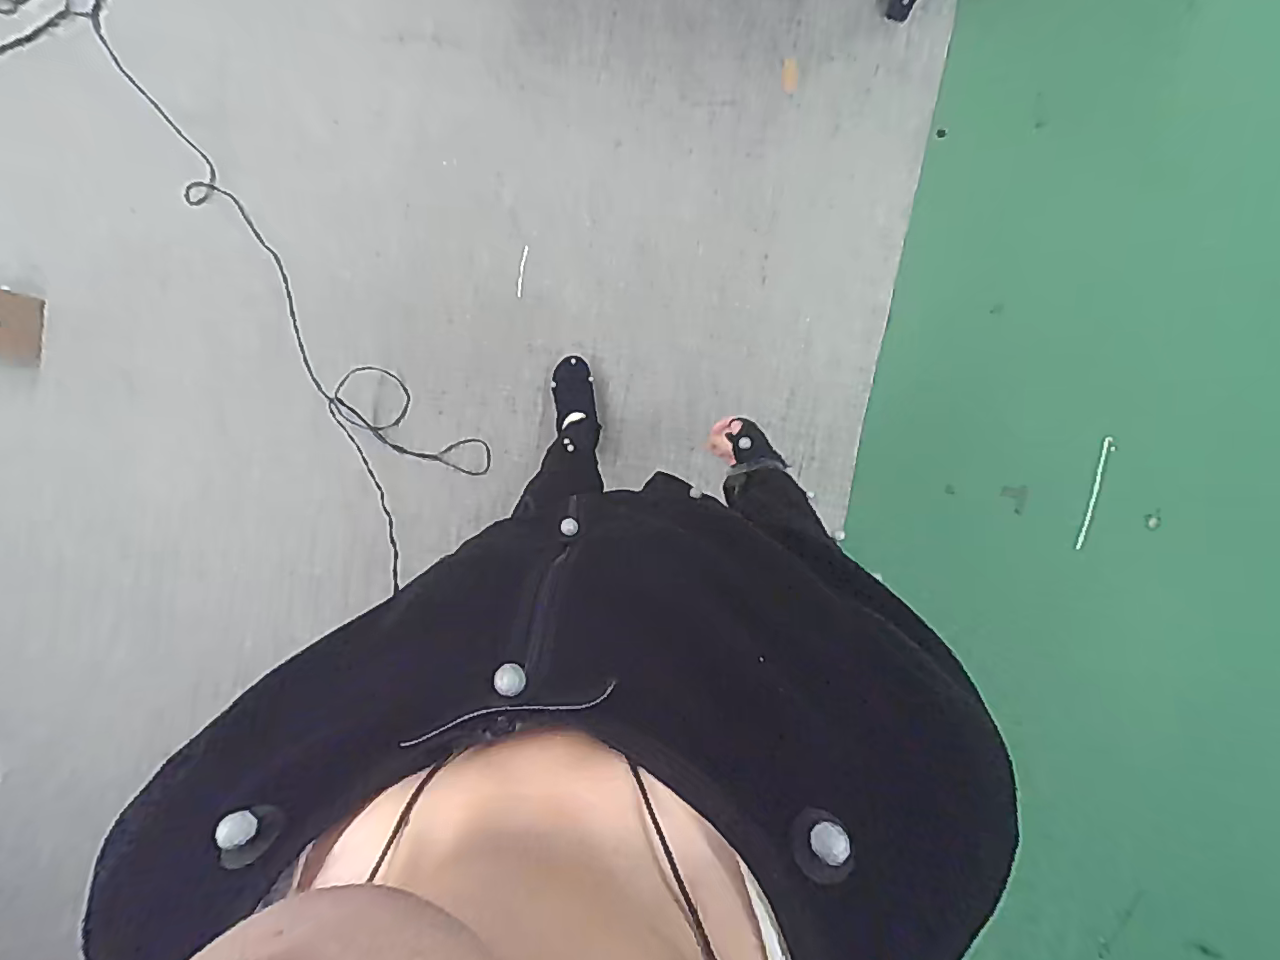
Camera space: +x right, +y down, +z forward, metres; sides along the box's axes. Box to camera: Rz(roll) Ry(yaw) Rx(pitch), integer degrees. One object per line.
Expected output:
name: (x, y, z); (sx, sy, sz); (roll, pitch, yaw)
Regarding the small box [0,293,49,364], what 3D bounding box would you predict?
small box: (-1.732, -0.412, 1.428); (0.168, 0.176, 0.179); (10, 93, 0)
